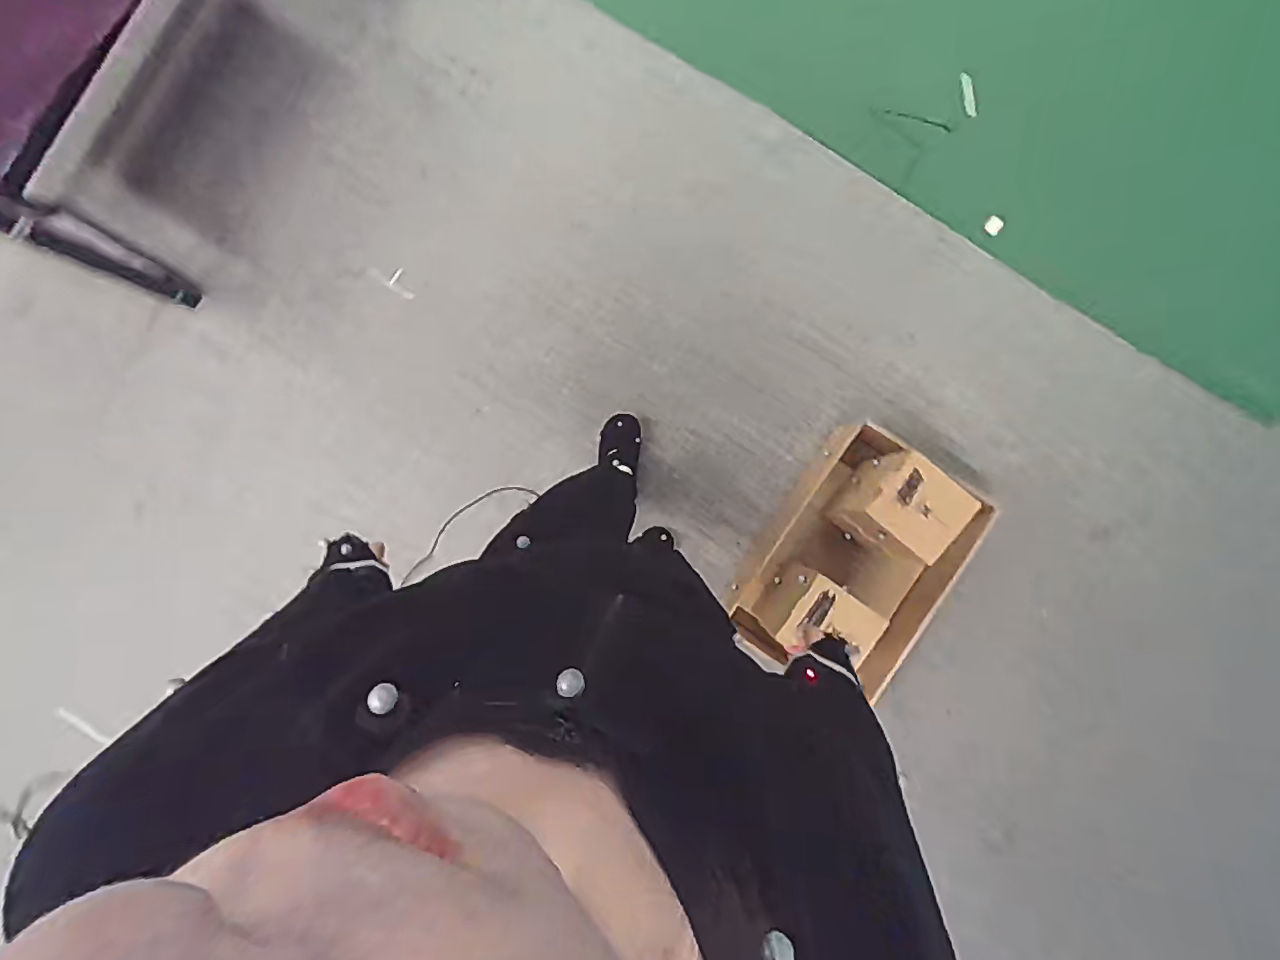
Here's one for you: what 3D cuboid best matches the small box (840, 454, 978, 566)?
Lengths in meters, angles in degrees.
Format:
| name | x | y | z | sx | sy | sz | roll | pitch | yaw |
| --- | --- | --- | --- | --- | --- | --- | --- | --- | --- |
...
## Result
| name | x | y | z | sx | sy | sz | roll | pitch | yaw |
| --- | --- | --- | --- | --- | --- | --- | --- | --- | --- |
| small box | 0.575 | 0.064 | 1.183 | 0.179 | 0.176 | 0.168 | 41 | 91 | 2 |
